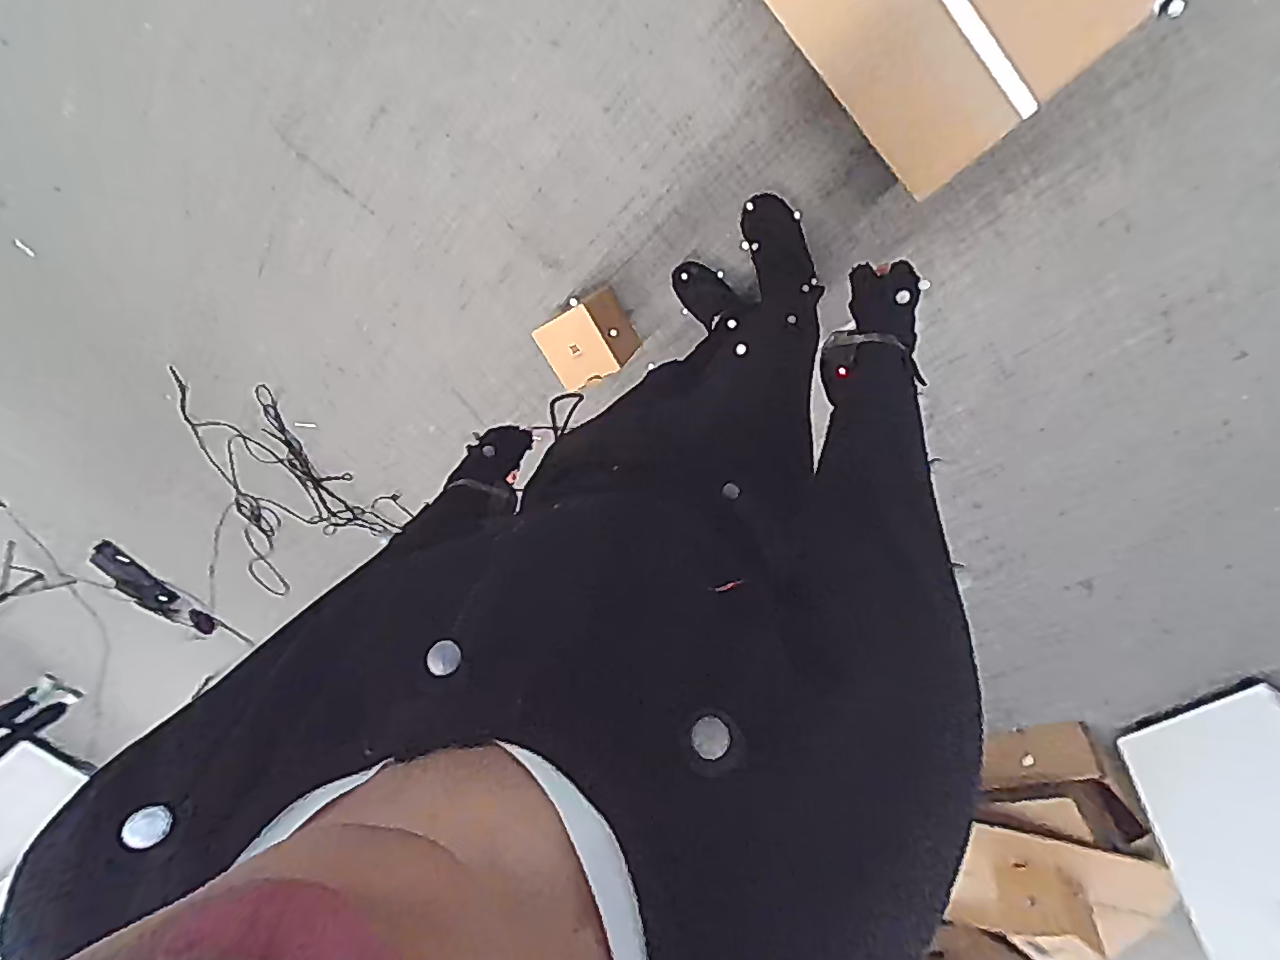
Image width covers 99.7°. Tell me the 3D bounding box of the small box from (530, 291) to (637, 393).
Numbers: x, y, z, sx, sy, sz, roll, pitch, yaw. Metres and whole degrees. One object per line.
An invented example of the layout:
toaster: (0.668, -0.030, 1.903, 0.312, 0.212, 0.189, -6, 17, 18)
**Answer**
small box: (-0.134, -0.350, 1.348, 0.168, 0.176, 0.179, -19, 116, 30)
